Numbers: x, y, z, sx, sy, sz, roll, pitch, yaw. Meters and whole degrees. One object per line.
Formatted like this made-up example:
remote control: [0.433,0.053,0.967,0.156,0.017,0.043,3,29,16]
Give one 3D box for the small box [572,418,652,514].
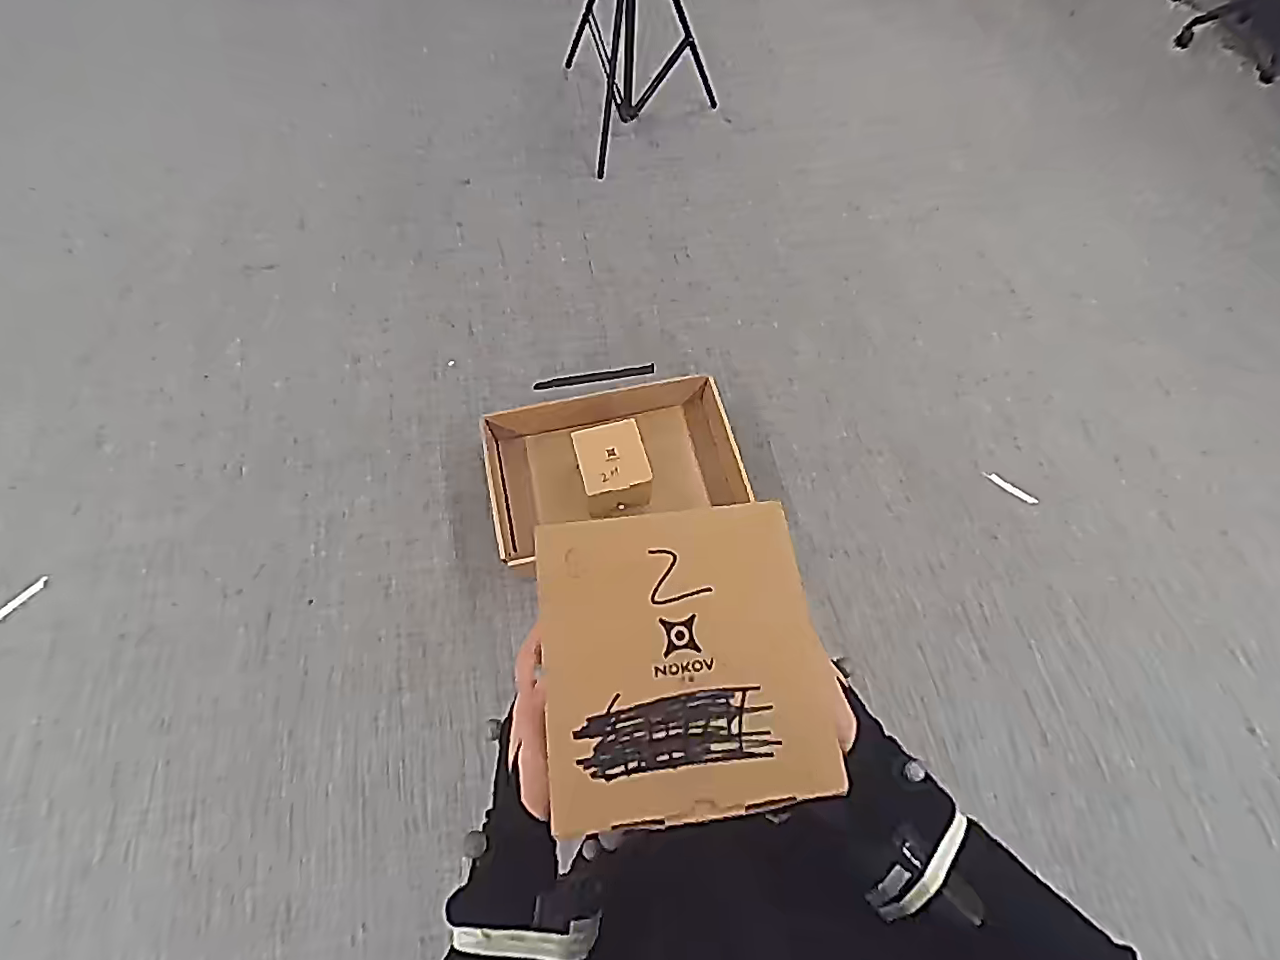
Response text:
small box: [-0.075,-0.032,1.384,0.168,0.176,0.179,-14,70,-8]
